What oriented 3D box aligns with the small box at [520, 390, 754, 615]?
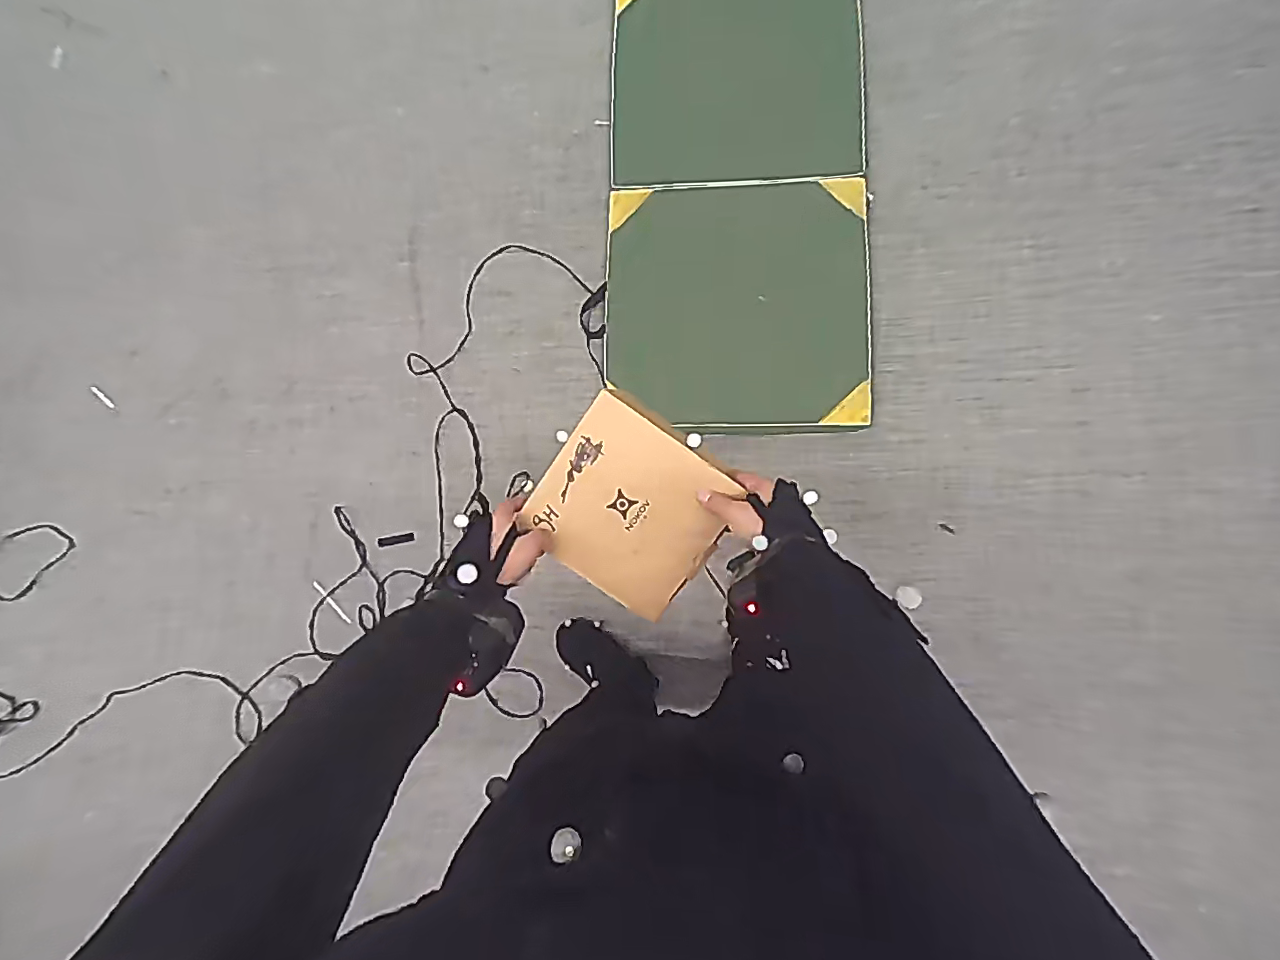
[{"bbox_3d":[0.001,0.012,0.609,0.179,0.176,0.168,35,99,-2],"label":"small box"}]
